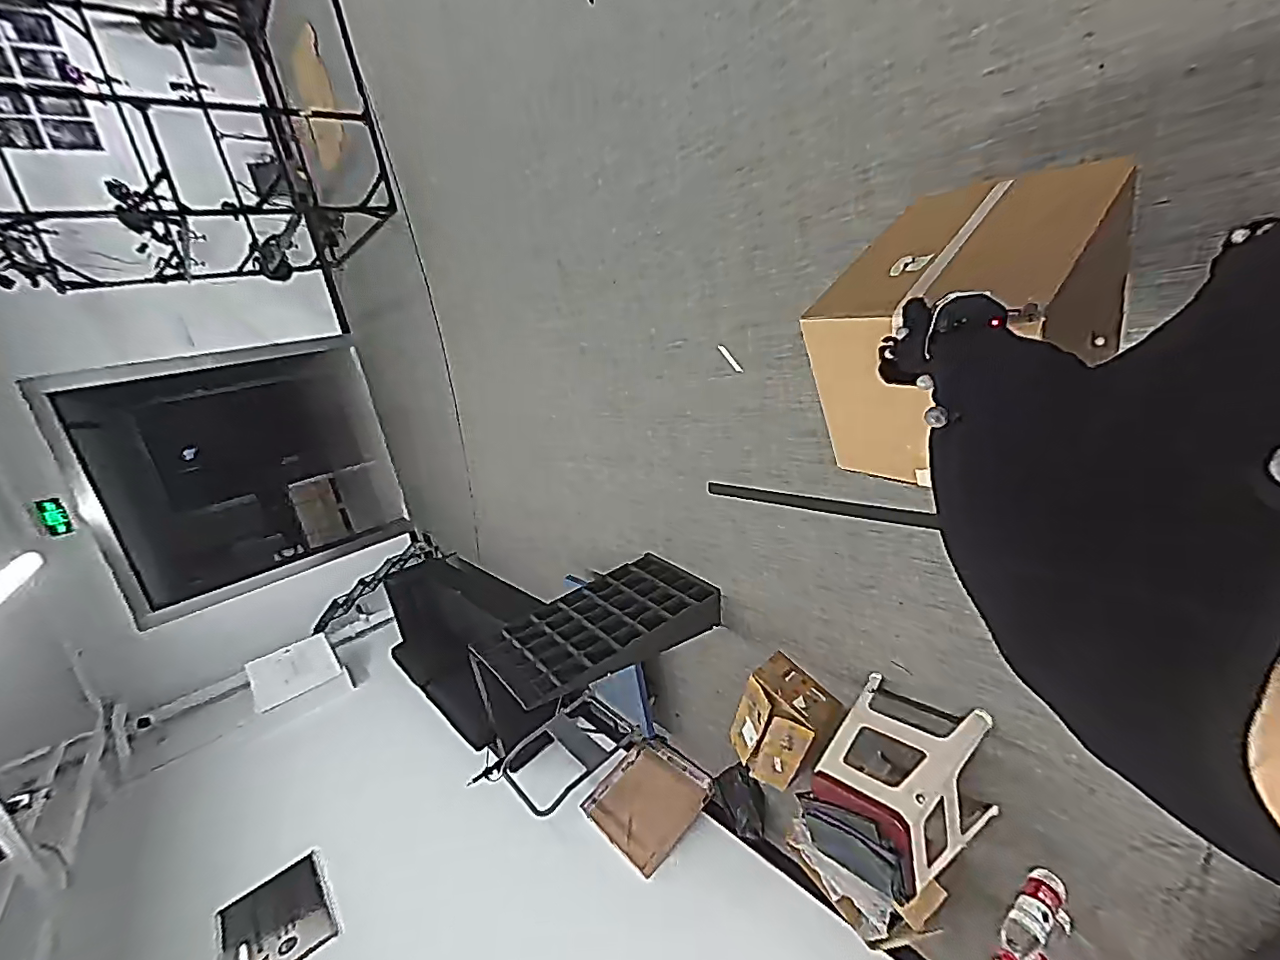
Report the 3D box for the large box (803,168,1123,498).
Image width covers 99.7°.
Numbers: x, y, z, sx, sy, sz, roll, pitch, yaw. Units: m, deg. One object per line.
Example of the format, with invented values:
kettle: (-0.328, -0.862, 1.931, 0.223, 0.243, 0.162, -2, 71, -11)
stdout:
large box: (0.533, -0.237, 0.888, 0.320, 0.408, 0.320, 16, 145, 48)
